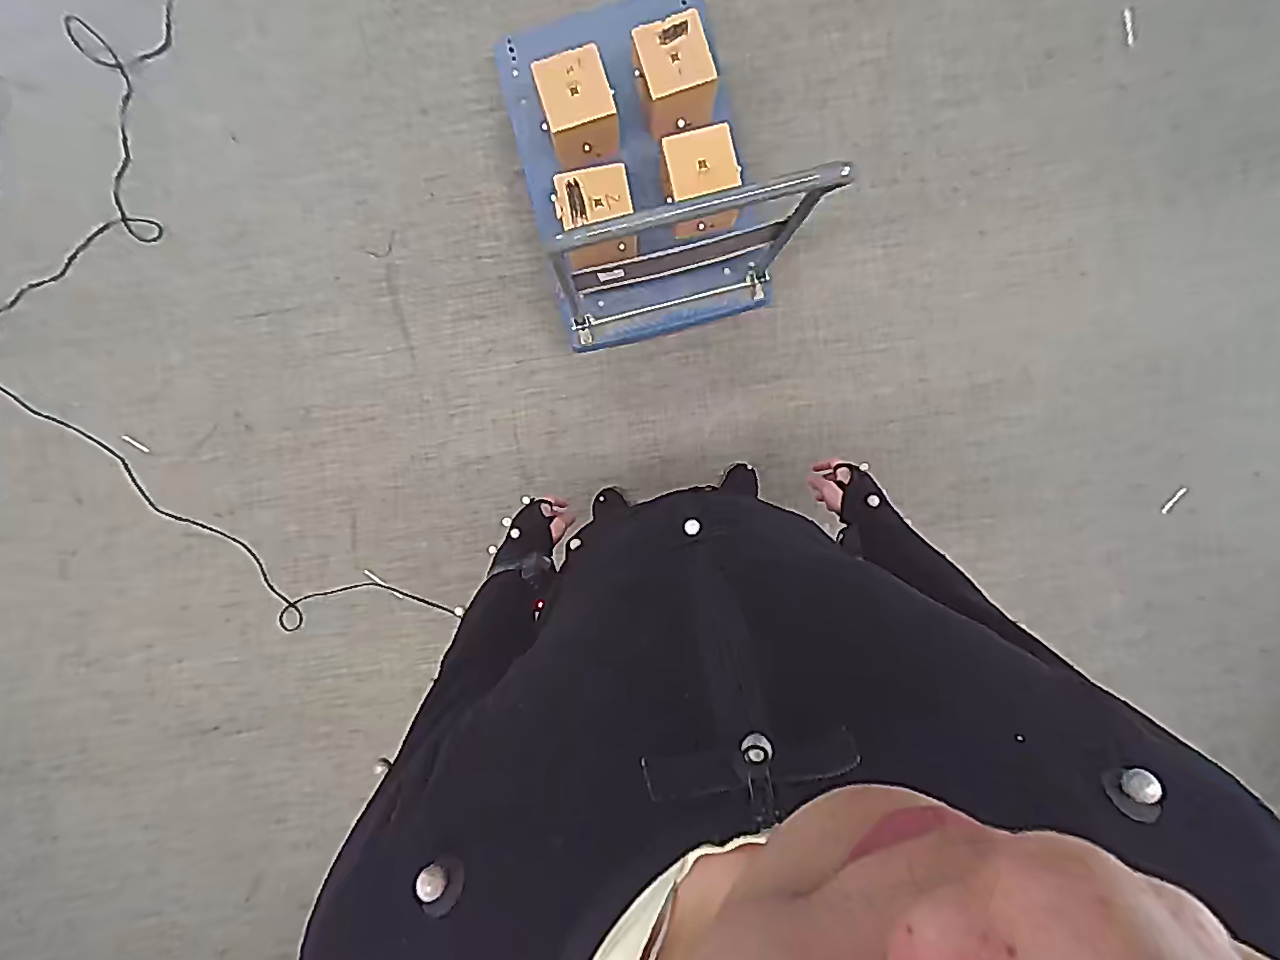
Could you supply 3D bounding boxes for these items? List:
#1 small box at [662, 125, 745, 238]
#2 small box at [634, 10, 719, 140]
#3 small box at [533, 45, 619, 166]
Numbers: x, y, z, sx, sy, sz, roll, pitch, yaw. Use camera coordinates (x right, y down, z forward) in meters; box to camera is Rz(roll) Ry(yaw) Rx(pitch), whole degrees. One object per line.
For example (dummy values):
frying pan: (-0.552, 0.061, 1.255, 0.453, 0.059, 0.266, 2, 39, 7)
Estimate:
small box: (0.153, -0.746, 1.367, 0.168, 0.176, 0.179, -13, 92, 1)
small box: (0.087, -1.008, 1.360, 0.168, 0.176, 0.179, -18, 92, 2)
small box: (-0.154, -0.929, 1.365, 0.168, 0.176, 0.179, -17, 91, 0)
